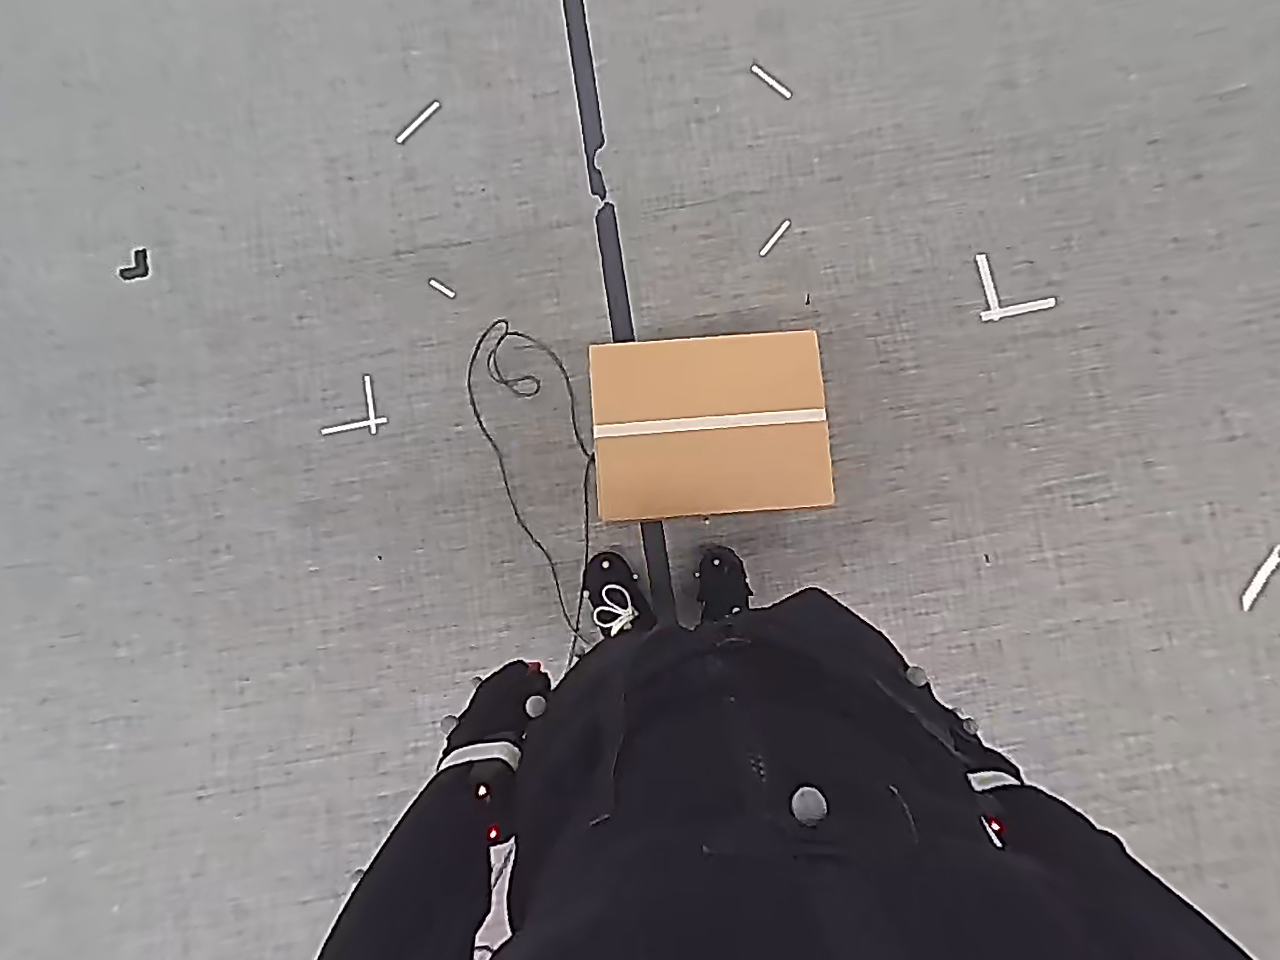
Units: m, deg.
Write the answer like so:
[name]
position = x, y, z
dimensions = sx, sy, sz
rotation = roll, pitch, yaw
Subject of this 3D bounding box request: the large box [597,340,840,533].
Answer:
[large box]
position = 0.134, -0.064, 1.087
dimensions = 0.408, 0.320, 0.320
rotation = -4, 85, 0
